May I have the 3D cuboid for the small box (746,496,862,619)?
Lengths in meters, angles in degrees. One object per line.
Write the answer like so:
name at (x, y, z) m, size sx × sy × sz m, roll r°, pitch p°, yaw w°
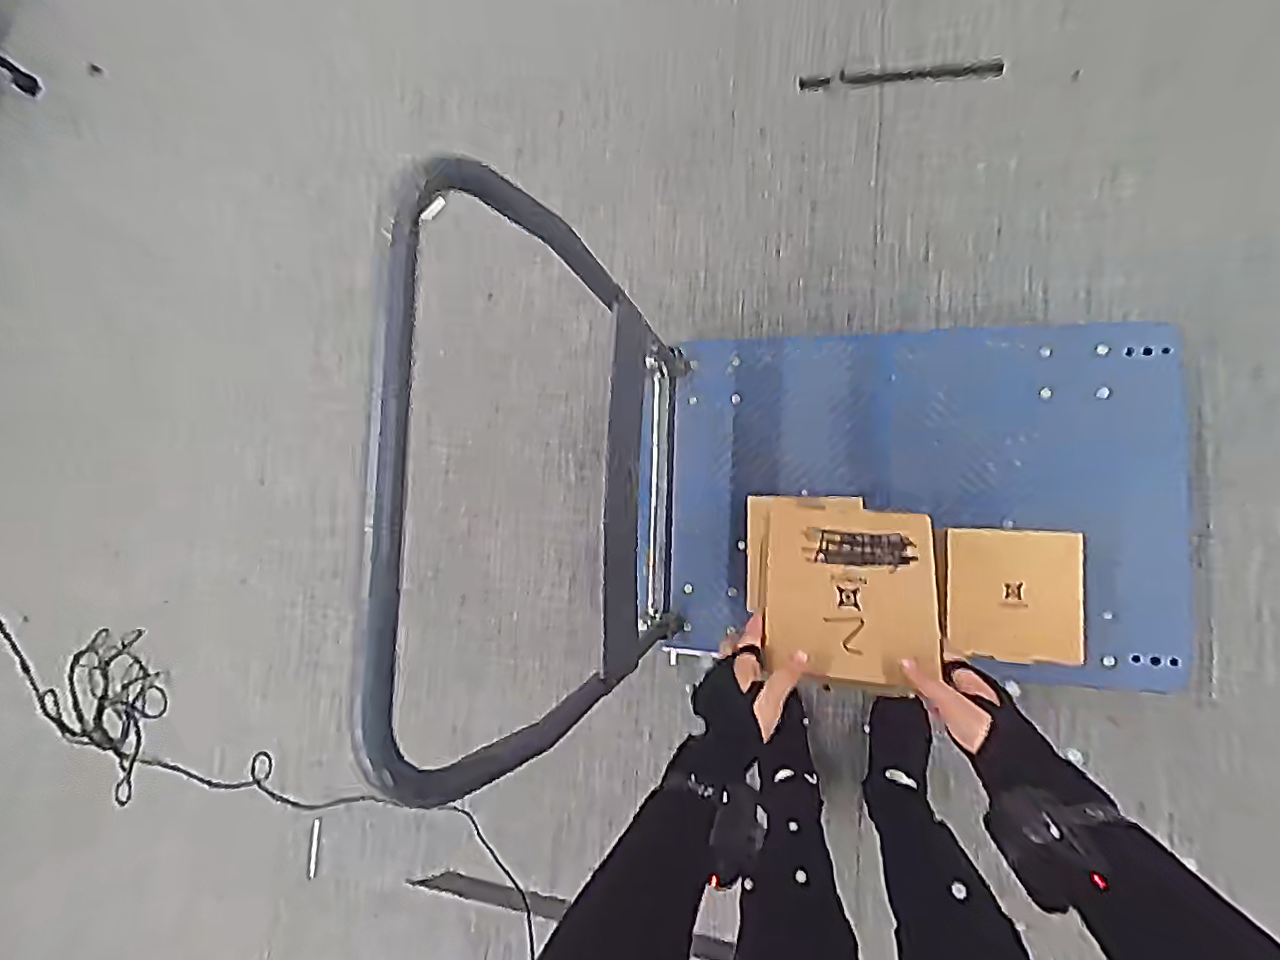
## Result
small box at (0.258, 0.118, 0.873) m, size 0.168 × 0.176 × 0.179 m, roll 0°, pitch 86°, yaw 14°

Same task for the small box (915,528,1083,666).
small box at (0.521, 0.162, 0.809) m, size 0.168 × 0.176 × 0.179 m, roll 1°, pitch 86°, yaw 14°
